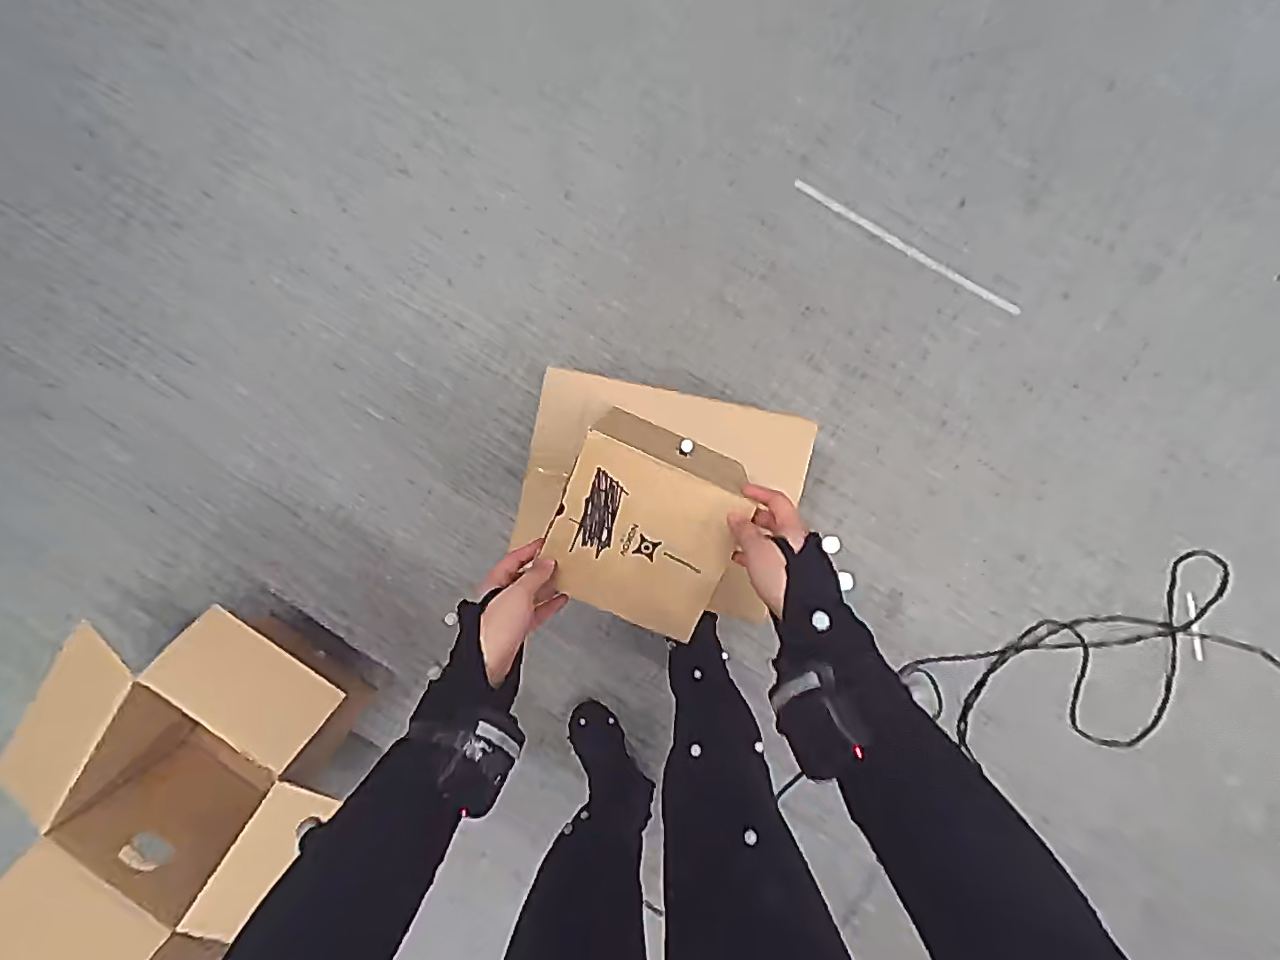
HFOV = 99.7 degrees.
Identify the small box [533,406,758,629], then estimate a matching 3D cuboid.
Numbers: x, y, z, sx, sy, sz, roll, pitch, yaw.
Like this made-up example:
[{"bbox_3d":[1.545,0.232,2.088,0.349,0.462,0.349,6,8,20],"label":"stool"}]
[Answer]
[{"bbox_3d":[0.008,0.027,0.603,0.179,0.176,0.168,24,106,-2],"label":"small box"}]
